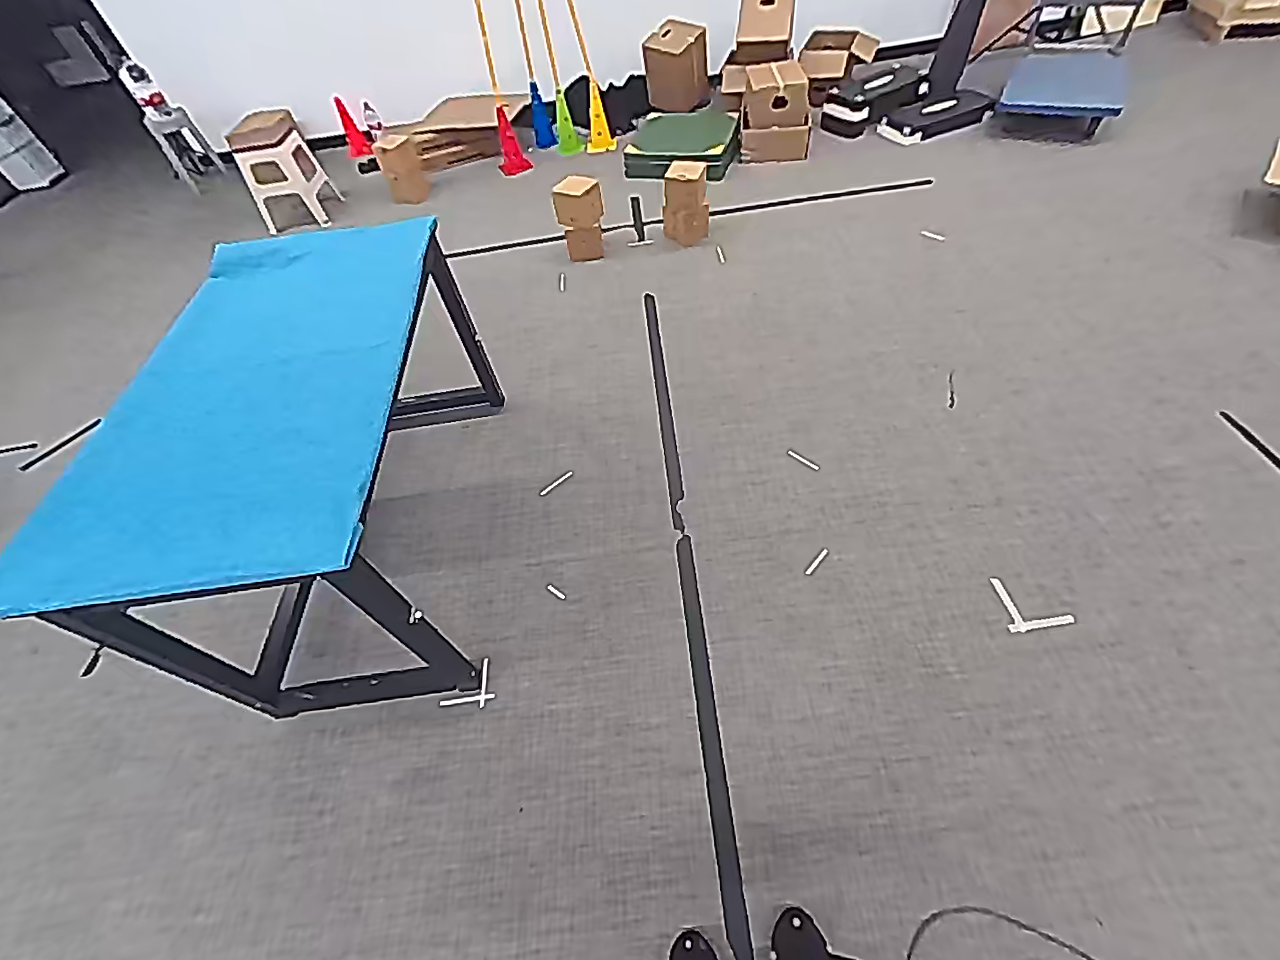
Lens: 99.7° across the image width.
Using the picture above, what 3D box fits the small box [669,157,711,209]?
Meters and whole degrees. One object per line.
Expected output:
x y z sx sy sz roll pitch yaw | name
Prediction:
0.247 -1.444 2.633 0.168 0.176 0.179 12 55 15 | small box

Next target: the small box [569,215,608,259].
-0.258 -1.264 2.778 0.179 0.176 0.168 -7 51 5 | small box

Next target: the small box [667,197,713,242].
0.259 -1.353 2.772 0.179 0.176 0.168 -34 56 -18 | small box

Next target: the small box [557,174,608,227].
-0.282 -1.374 2.654 0.179 0.176 0.168 21 58 21 | small box
